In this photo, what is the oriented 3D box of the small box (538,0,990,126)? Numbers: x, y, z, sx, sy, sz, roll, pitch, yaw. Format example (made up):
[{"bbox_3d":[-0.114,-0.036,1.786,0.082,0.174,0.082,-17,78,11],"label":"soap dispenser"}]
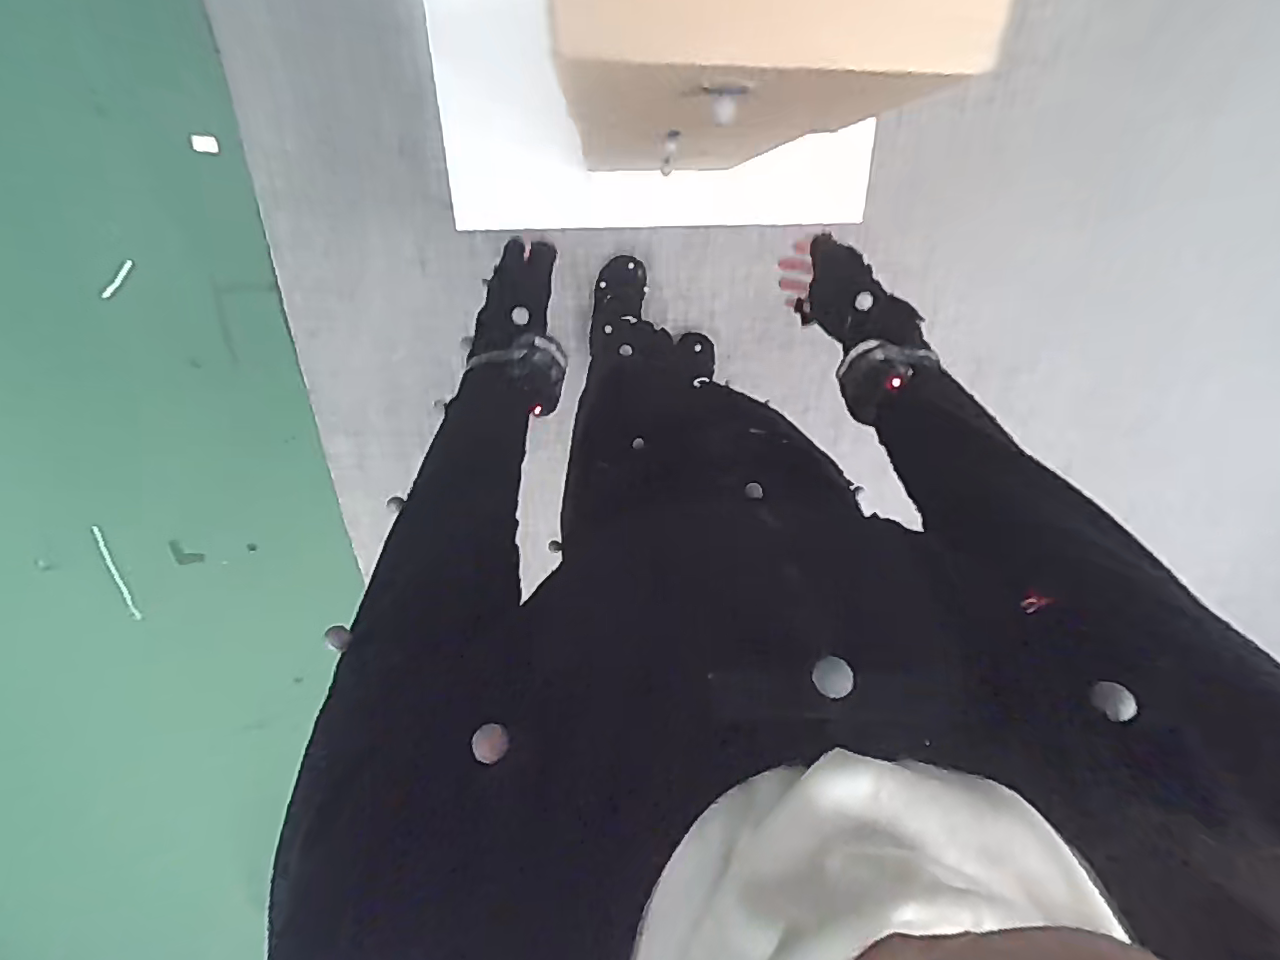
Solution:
[{"bbox_3d":[0.047,-0.276,0.252,0.179,0.176,0.168,0,116,-3],"label":"small box"}]

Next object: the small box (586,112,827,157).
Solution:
[{"bbox_3d":[0.038,-0.352,0.400,0.168,0.176,0.179,-4,116,-2],"label":"small box"}]

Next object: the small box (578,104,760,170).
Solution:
[{"bbox_3d":[0.026,-0.416,0.547,0.179,0.176,0.168,-2,116,-3],"label":"small box"}]
